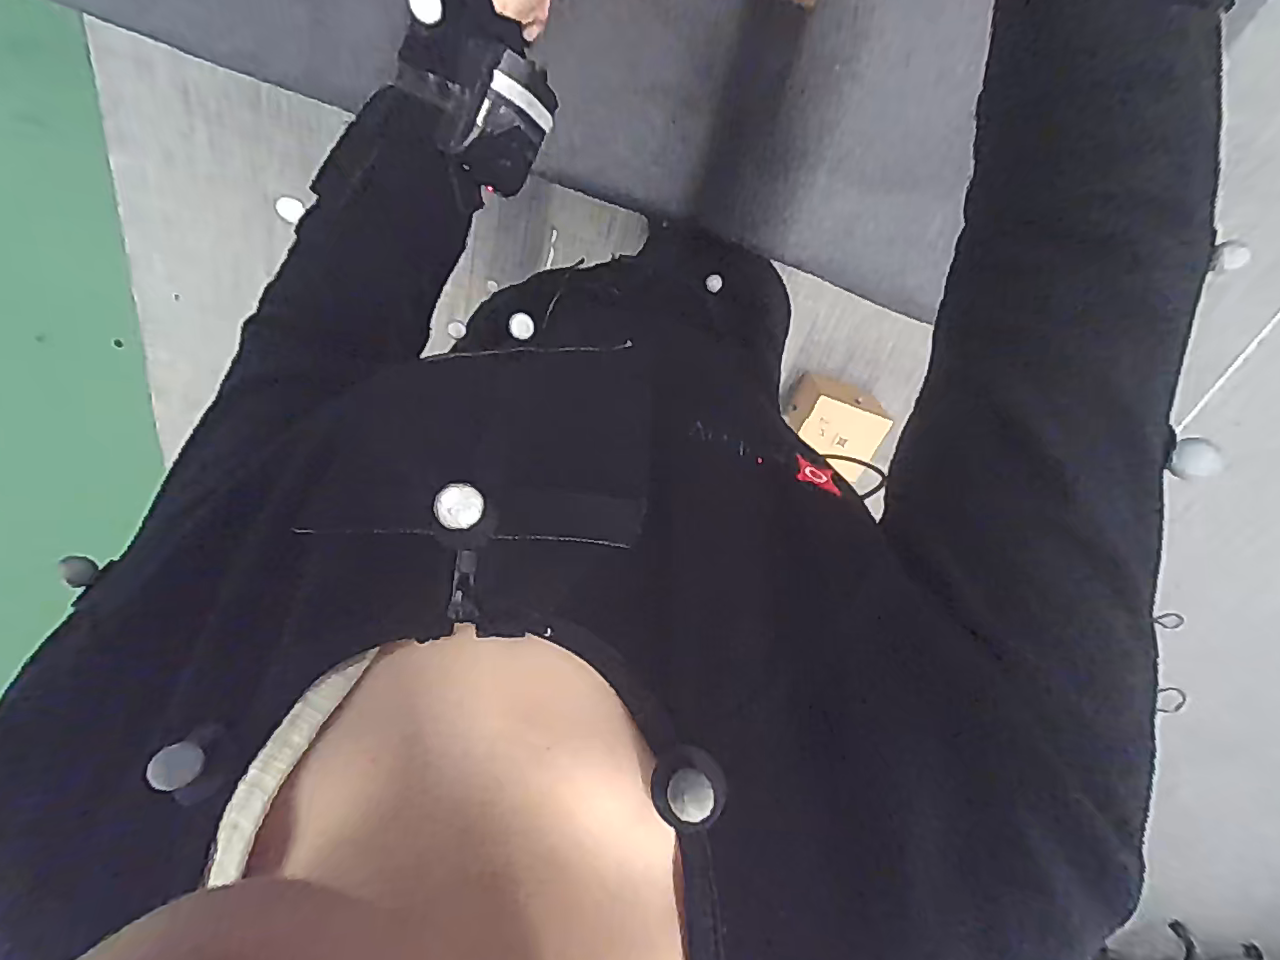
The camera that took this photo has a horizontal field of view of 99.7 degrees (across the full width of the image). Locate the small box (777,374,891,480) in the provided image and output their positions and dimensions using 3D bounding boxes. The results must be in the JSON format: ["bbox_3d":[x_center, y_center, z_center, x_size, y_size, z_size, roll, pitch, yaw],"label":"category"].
[{"bbox_3d":[0.442,-0.129,1.261,0.179,0.176,0.168,18,119,-5],"label":"small box"}]
